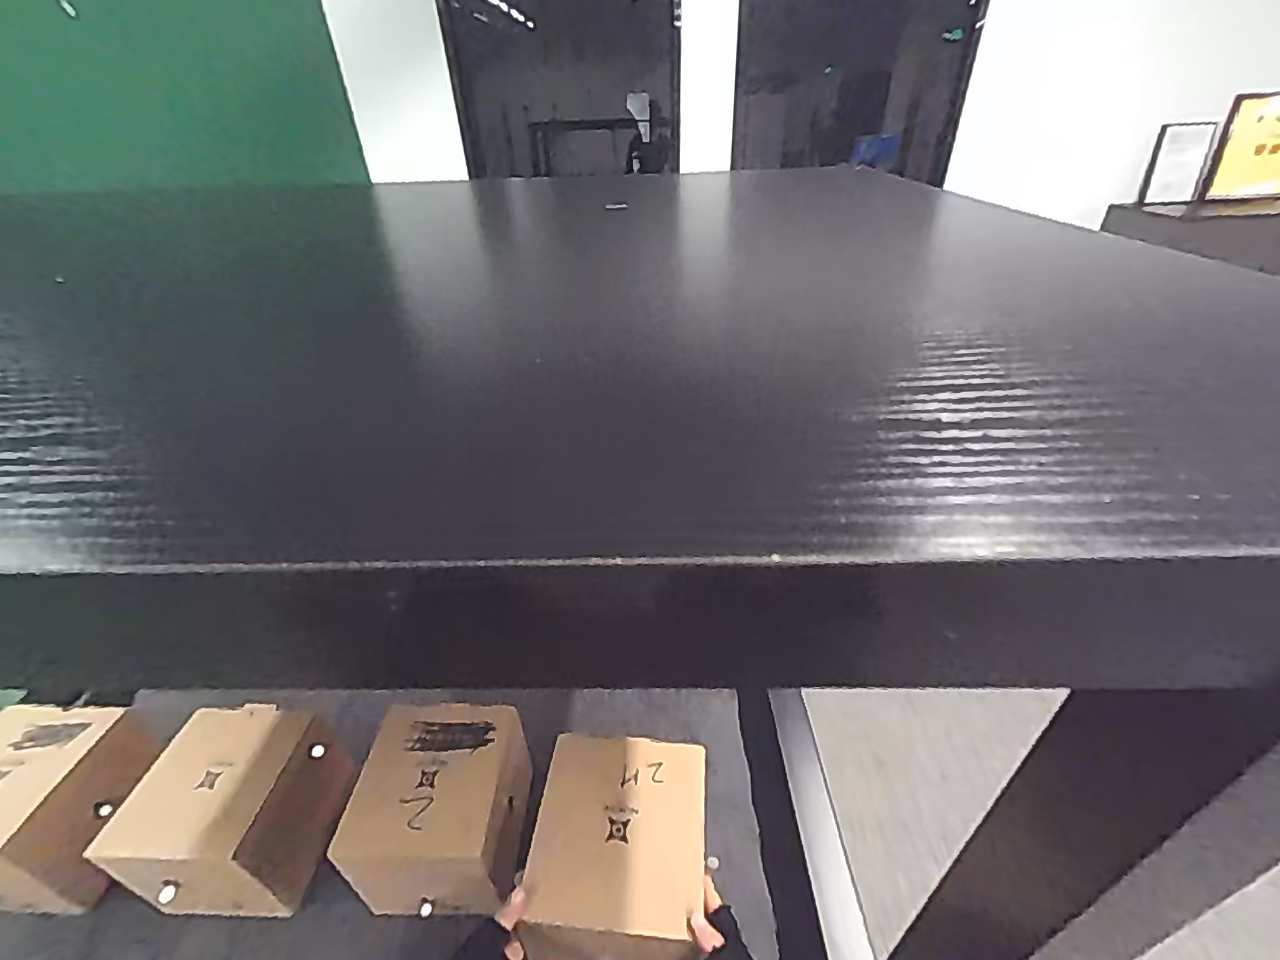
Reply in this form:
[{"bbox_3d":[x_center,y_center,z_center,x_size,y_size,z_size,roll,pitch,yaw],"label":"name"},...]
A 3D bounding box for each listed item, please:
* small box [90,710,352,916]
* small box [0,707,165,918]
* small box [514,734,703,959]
[{"bbox_3d":[-0.500,0.418,0.684,0.168,0.176,0.179,0,34,2],"label":"small box"},{"bbox_3d":[-0.752,0.419,0.691,0.168,0.176,0.179,0,34,3],"label":"small box"},{"bbox_3d":[-0.019,0.405,0.576,0.168,0.176,0.179,3,33,5],"label":"small box"}]
